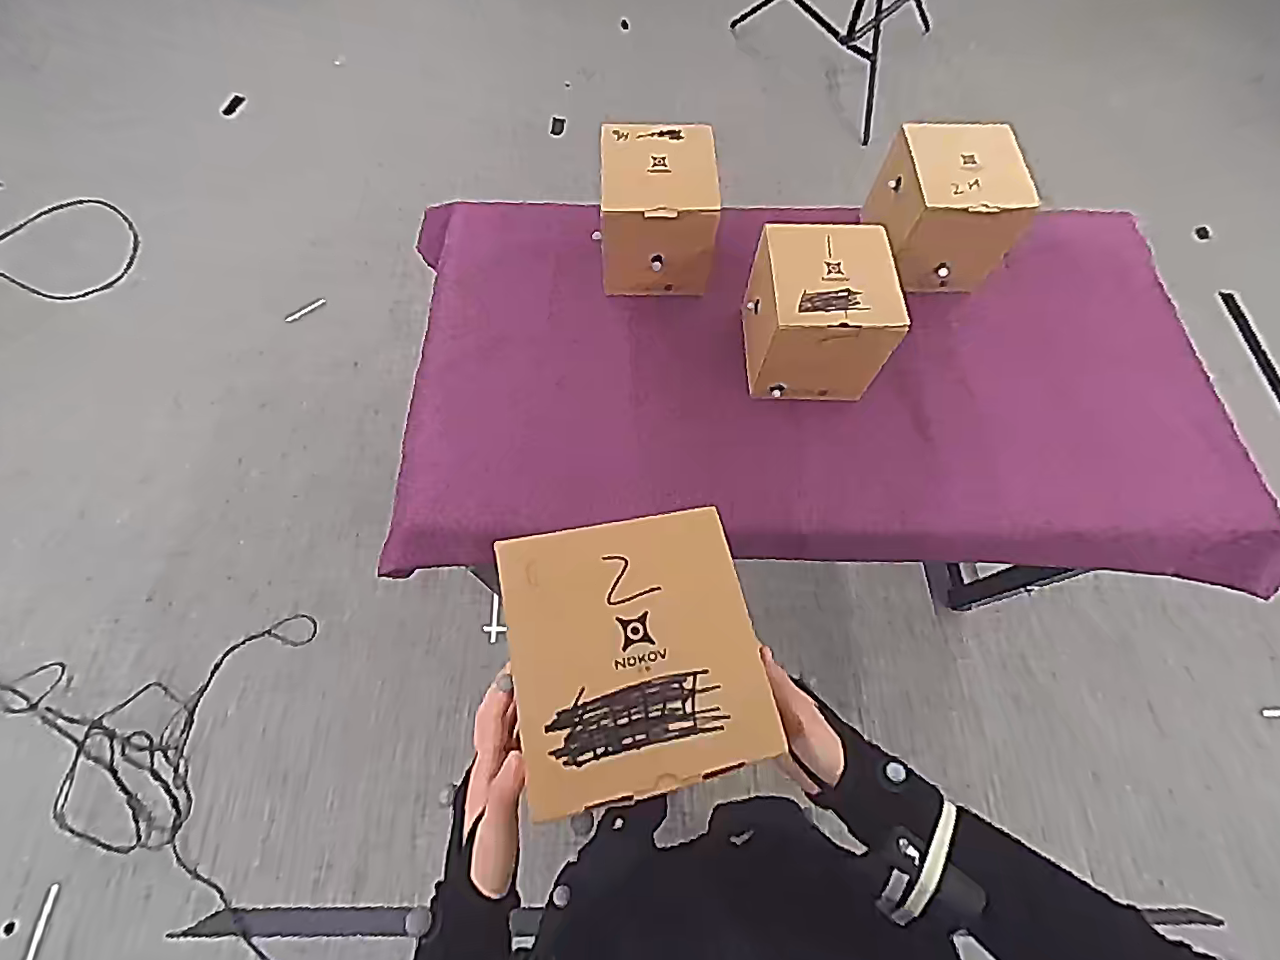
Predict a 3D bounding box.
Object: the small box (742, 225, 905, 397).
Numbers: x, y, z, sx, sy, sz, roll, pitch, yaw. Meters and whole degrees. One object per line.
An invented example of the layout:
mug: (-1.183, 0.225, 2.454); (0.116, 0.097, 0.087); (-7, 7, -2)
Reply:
small box: (0.246, -0.232, 0.771); (0.168, 0.176, 0.179); (0, 66, -1)

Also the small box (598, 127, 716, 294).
small box: (0.023, -0.409, 0.840); (0.168, 0.176, 0.179); (-1, 69, -2)

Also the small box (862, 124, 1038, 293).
small box: (0.470, -0.424, 0.855); (0.168, 0.176, 0.179); (-1, 68, 0)
